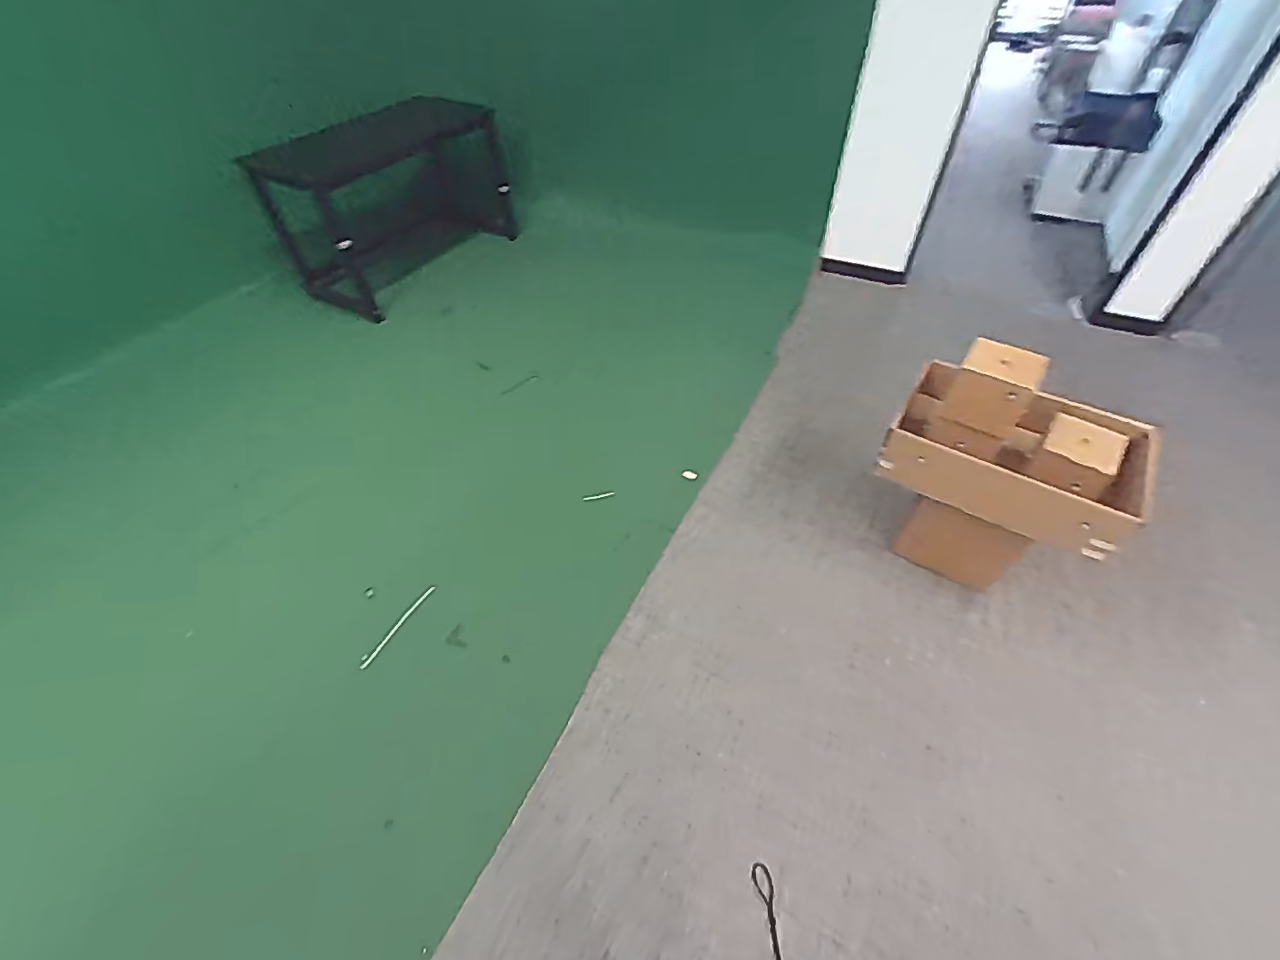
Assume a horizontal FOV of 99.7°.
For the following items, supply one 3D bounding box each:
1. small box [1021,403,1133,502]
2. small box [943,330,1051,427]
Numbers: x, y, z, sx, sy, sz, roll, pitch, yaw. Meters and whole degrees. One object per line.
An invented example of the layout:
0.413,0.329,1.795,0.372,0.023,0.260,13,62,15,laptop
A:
1.180,-0.071,1.472,0.168,0.176,0.179,31,58,26,small box
0.945,-0.269,1.445,0.179,0.176,0.168,27,56,23,small box
